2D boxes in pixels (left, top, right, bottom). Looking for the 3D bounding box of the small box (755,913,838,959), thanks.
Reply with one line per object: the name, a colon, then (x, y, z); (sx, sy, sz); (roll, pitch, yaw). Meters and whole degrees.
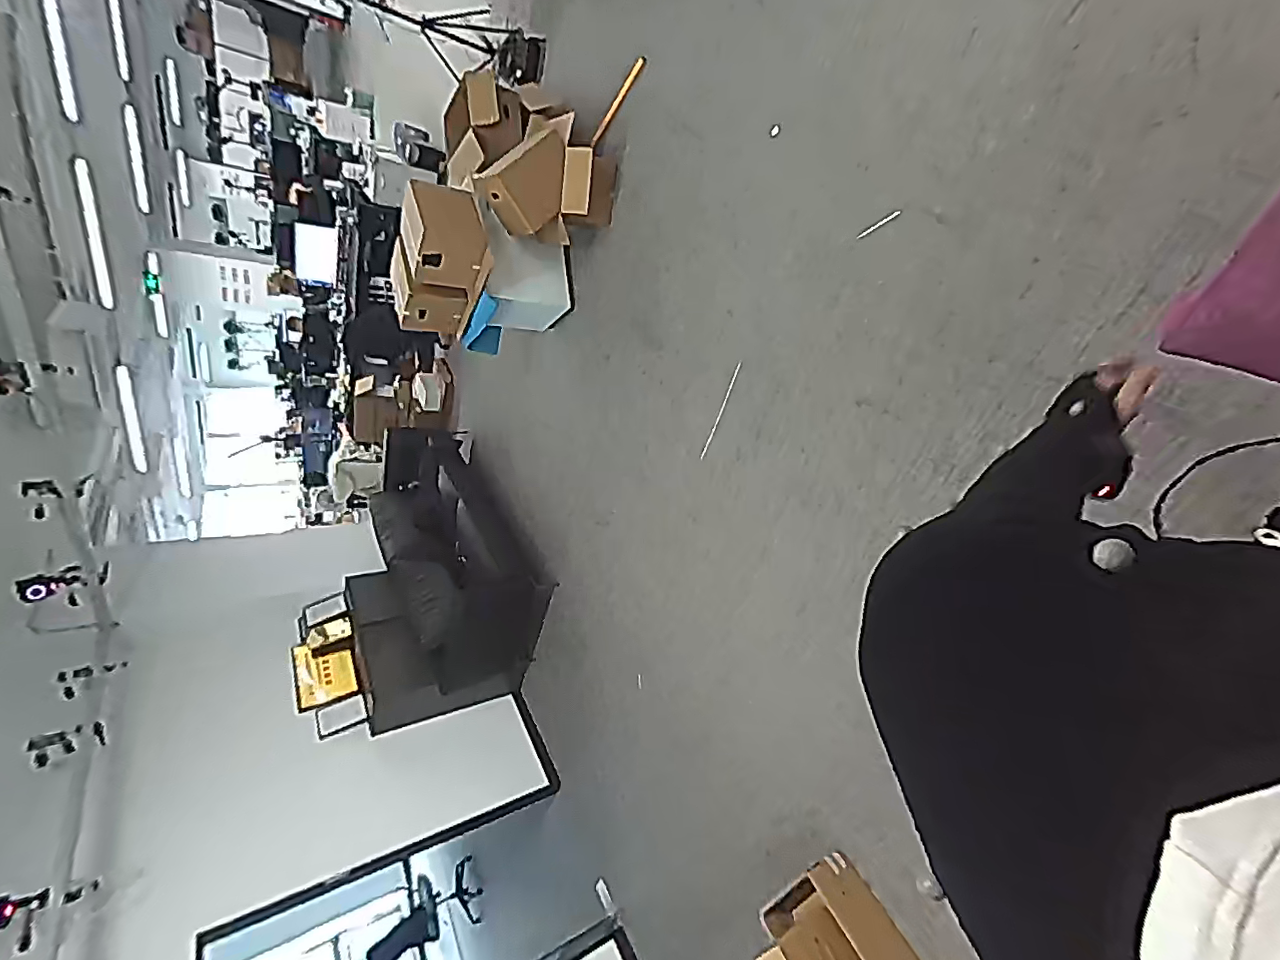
small box: (0.519, 1.585, 1.782); (0.168, 0.176, 0.179); (52, 131, 37)
